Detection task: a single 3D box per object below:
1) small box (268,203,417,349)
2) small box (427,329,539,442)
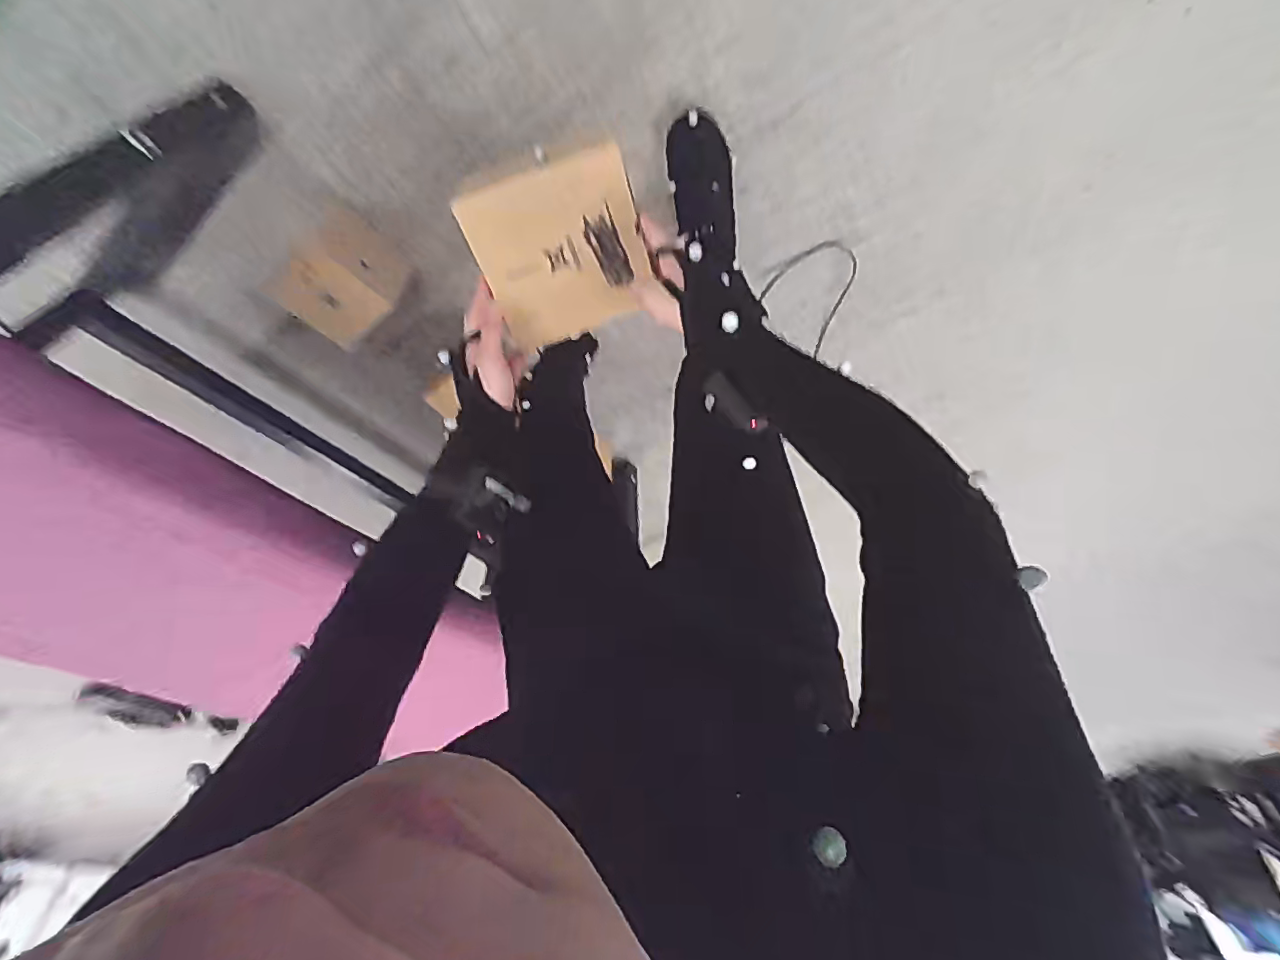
[{"bbox_3d":[-0.574,-0.403,1.067,0.168,0.176,0.179,-29,131,26],"label":"small box"},{"bbox_3d":[-0.360,-0.228,1.267,0.168,0.176,0.179,-25,134,25],"label":"small box"}]
